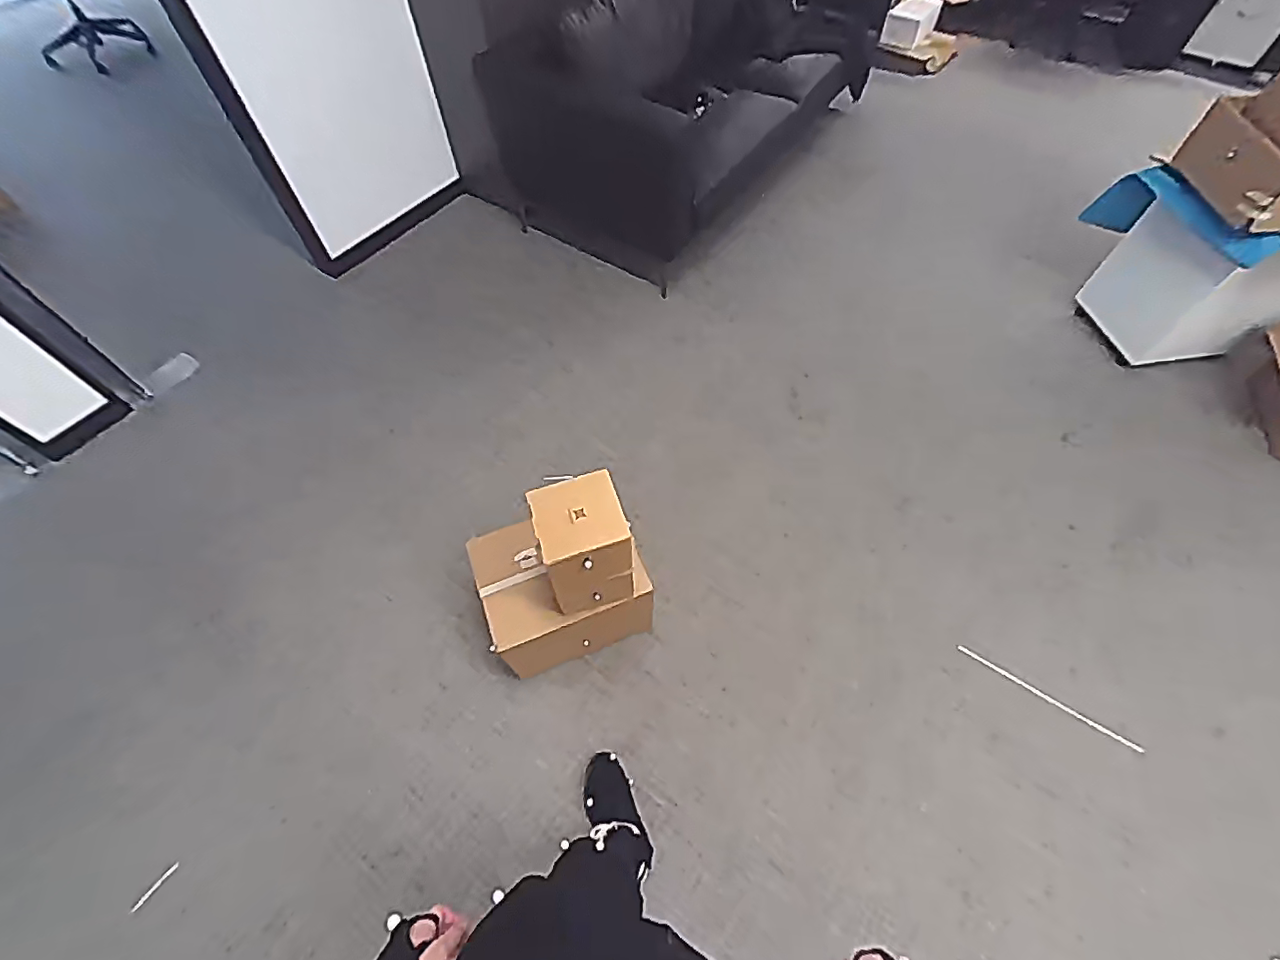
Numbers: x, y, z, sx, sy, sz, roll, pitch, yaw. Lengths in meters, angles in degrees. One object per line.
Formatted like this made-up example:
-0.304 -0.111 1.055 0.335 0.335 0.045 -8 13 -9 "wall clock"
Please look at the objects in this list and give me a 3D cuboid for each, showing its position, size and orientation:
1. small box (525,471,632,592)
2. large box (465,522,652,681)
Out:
-0.124 0.111 1.120 0.179 0.176 0.168 -17 61 -9 "small box"
-0.208 0.300 1.484 0.408 0.320 0.320 -21 60 -11 "large box"
